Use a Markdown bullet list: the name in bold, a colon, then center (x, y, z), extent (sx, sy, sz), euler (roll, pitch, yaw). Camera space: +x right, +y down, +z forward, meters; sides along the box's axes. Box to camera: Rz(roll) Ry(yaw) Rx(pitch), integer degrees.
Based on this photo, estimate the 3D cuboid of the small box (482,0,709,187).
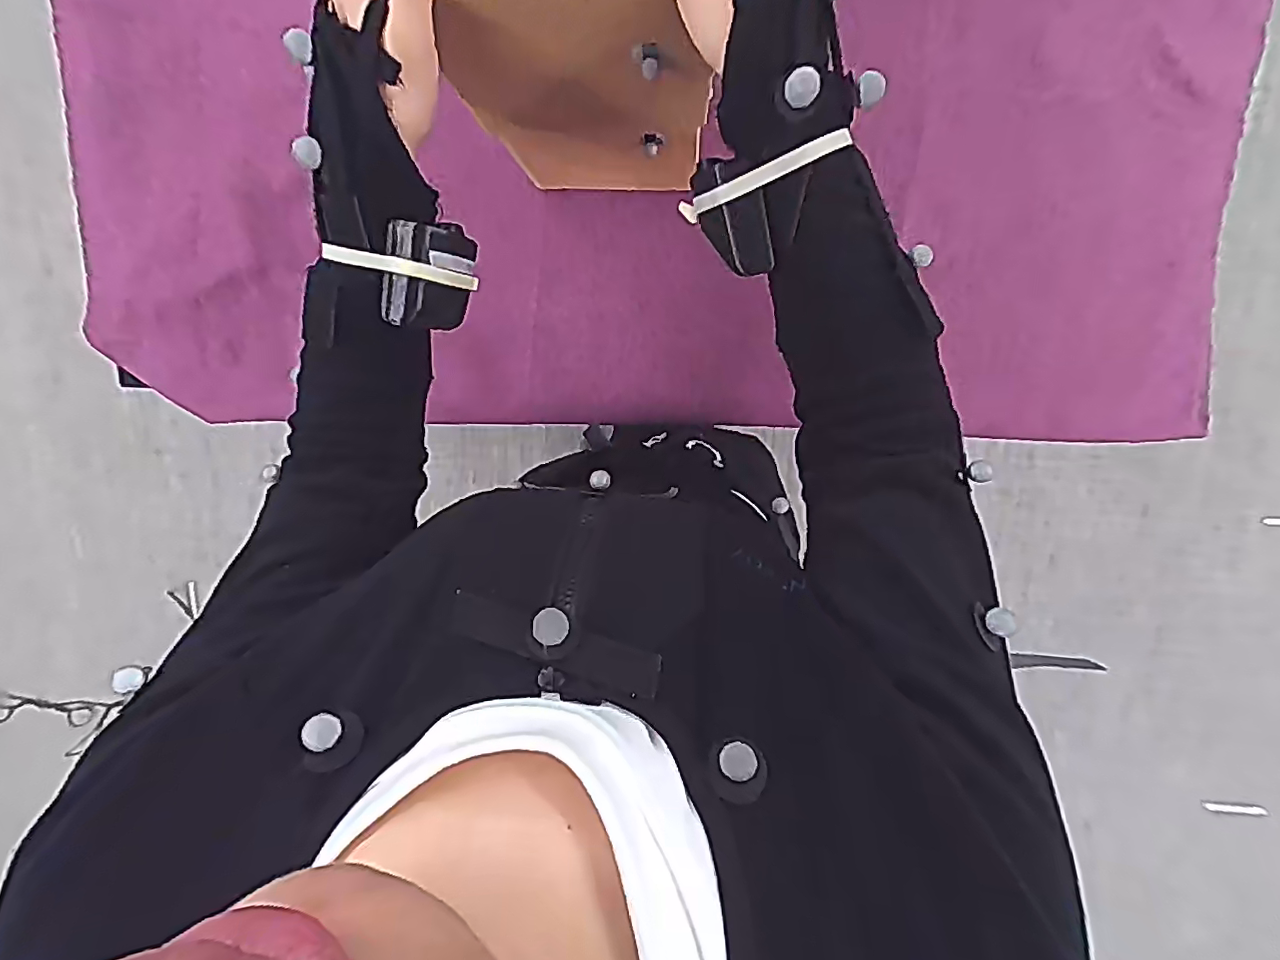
- **small box**: center (-0.029, -0.379, 0.486), extent (0.179, 0.176, 0.168), euler (2, 101, 3)
